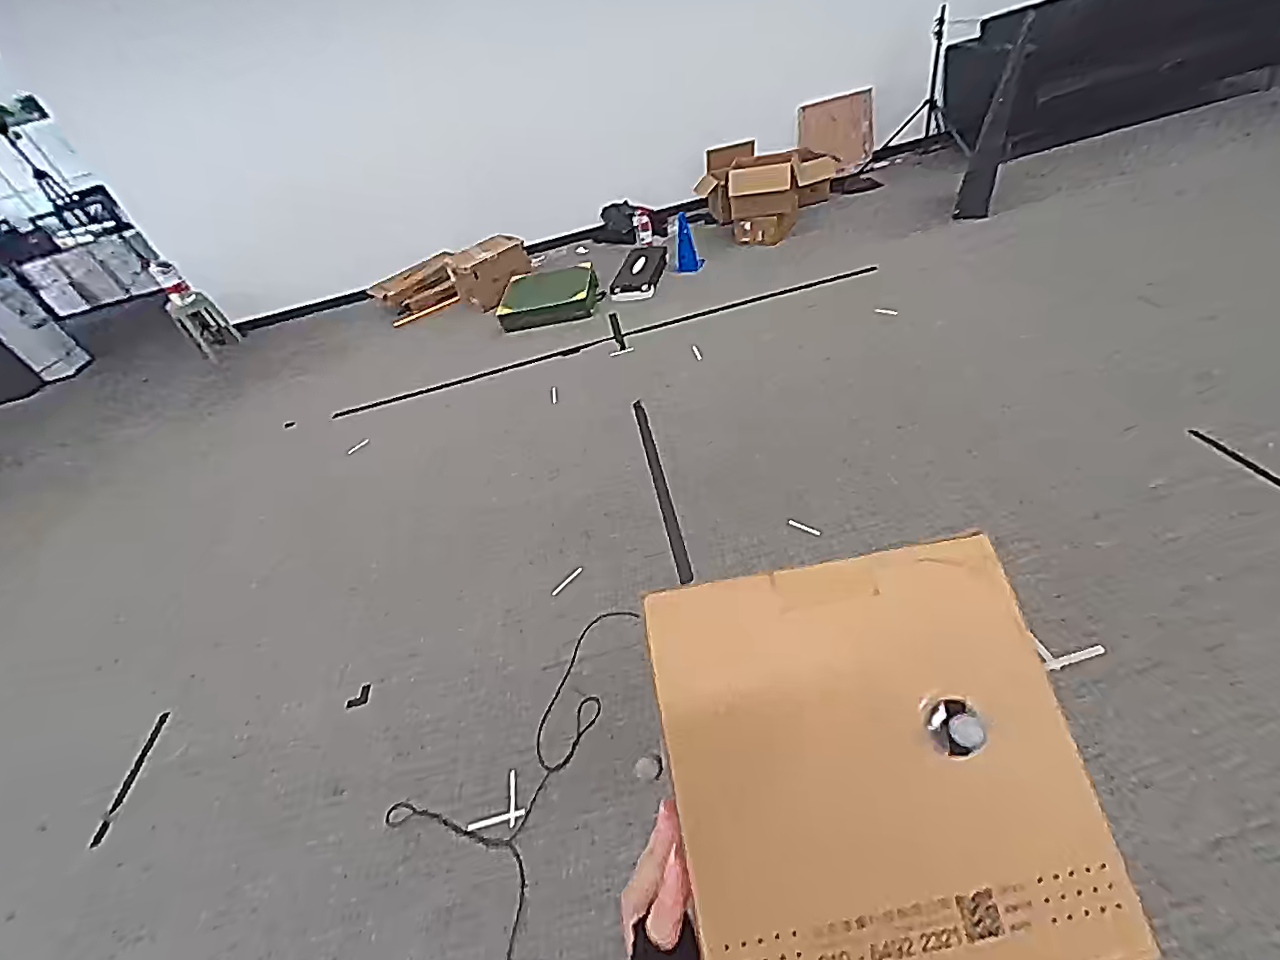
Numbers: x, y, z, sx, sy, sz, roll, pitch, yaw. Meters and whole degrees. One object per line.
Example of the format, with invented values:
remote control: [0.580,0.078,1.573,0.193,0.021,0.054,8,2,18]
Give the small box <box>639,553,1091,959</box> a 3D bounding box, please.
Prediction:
small box: [0.097,0.154,0.315,0.168,0.179,0.176,-10,71,-2]
